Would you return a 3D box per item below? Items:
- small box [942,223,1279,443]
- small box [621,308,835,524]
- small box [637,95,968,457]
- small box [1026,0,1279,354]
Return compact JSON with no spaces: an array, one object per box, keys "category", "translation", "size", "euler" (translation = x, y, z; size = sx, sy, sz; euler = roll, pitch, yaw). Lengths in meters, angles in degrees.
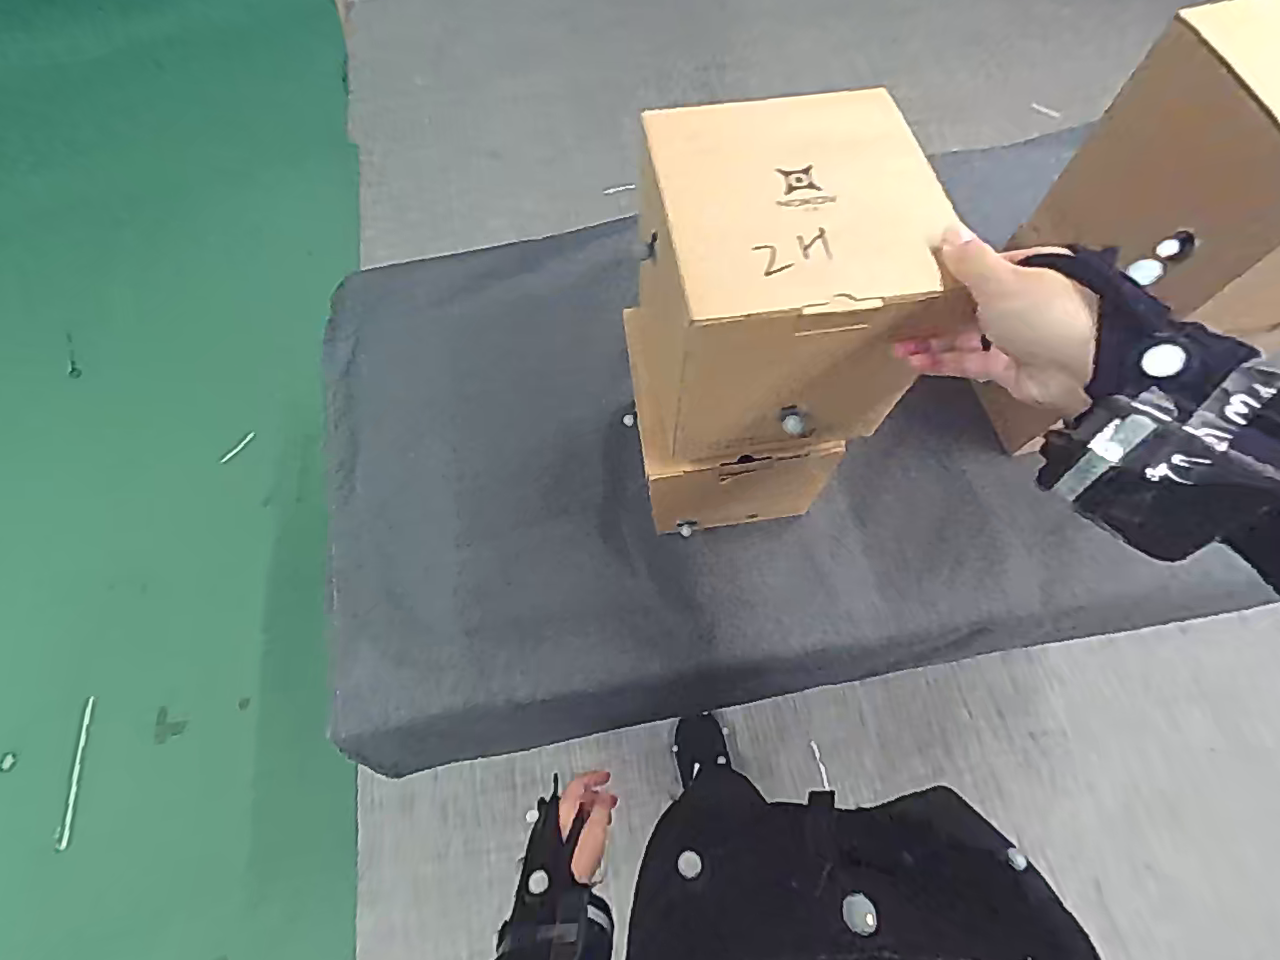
[{"category":"small box","translation":[0.454,-0.152,0.556],"size":[0.168,0.176,0.179],"euler":[-13,68,-1]},{"category":"small box","translation":[0.078,-0.062,0.551],"size":[0.168,0.176,0.179],"euler":[-8,67,1]},{"category":"small box","translation":[0.089,-0.138,0.399],"size":[0.168,0.176,0.179],"euler":[-9,66,-2]},{"category":"small box","translation":[0.446,-0.213,0.405],"size":[0.168,0.176,0.179],"euler":[-10,67,0]}]
